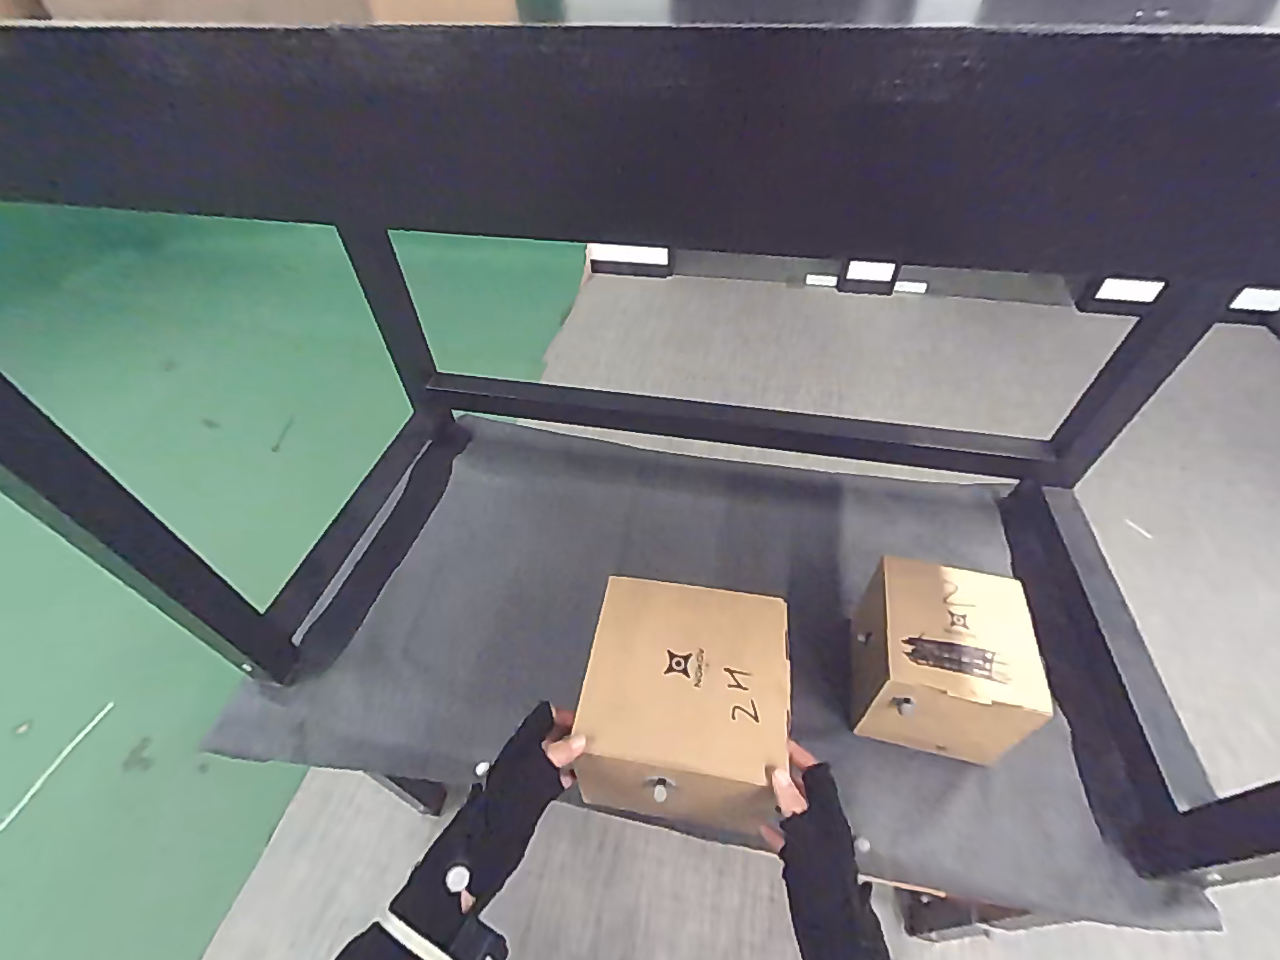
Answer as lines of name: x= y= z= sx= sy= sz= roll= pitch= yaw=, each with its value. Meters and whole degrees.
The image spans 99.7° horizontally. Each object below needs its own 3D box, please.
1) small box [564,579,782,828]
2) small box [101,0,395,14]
small box: x=0.038 y=0.222 z=0.535 sx=0.179 sy=0.176 sz=0.168 roll=7 pitch=47 yaw=7
small box: x=-0.180 y=-0.322 z=0.236 sx=0.168 sy=0.176 sz=0.179 roll=7 pitch=47 yaw=8
